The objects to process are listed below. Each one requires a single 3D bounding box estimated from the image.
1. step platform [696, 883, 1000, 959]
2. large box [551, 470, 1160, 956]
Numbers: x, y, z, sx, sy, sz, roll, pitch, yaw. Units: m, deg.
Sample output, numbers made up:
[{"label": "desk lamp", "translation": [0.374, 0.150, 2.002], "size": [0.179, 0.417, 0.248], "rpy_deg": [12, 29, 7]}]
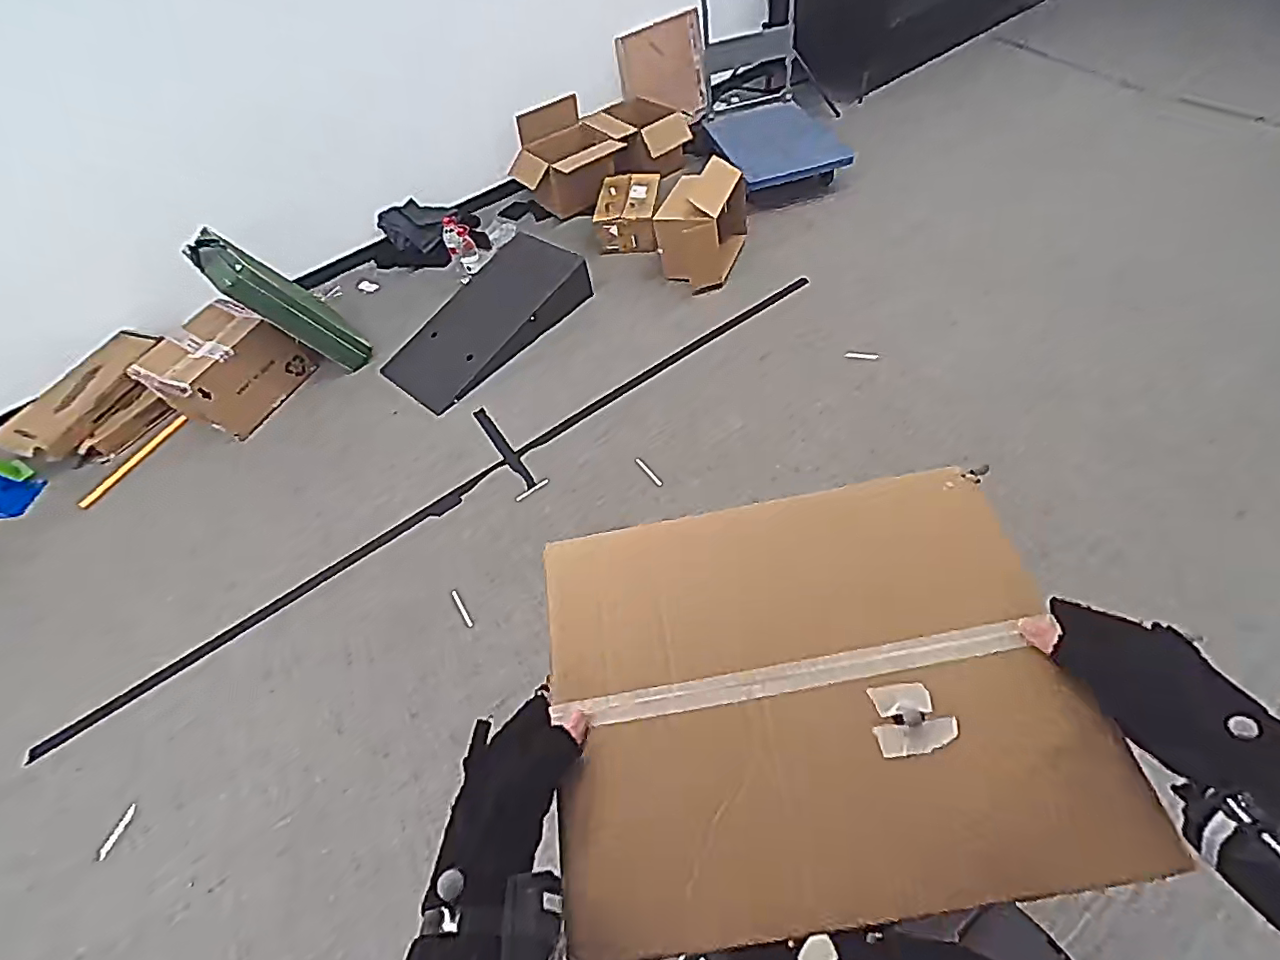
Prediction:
[{"label": "step platform", "translation": [0.450, 0.915, 1.157], "size": [0.684, 0.204, 0.286], "rpy_deg": [-34, 56, -15]}, {"label": "large box", "translation": [0.149, 0.235, 0.567], "size": [0.408, 0.320, 0.320], "rpy_deg": [-12, 58, 2]}]
